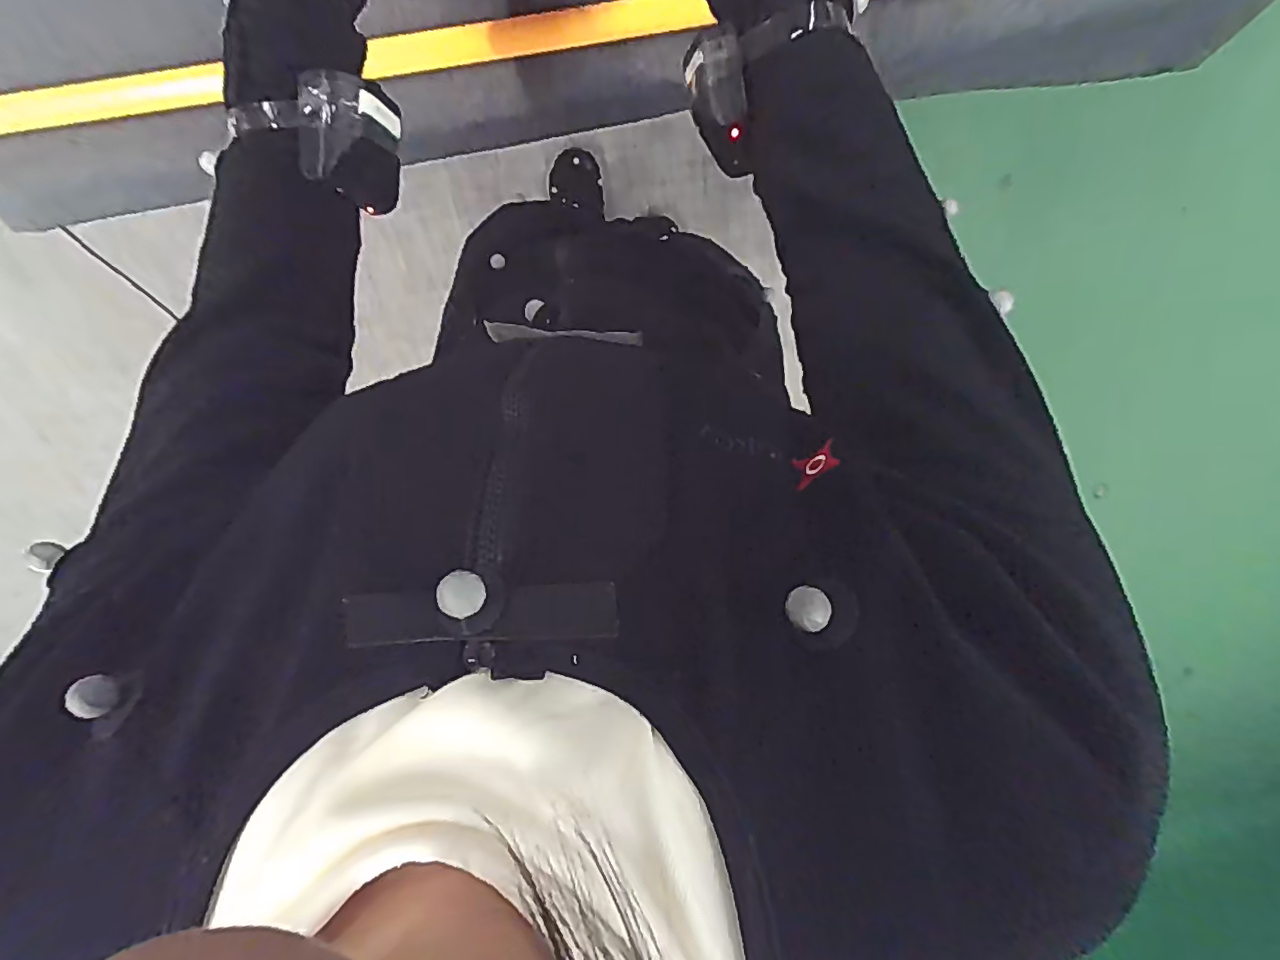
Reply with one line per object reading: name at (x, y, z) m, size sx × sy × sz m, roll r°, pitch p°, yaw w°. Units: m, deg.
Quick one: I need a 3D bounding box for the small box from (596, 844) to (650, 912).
small box at (-0.062, 1.482, 2.002) m, size 0.168 × 0.176 × 0.179 m, roll -13°, pitch 124°, yaw 3°

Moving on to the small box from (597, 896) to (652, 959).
small box at (-0.052, 1.576, 1.869) m, size 0.168 × 0.176 × 0.179 m, roll -12°, pitch 124°, yaw 2°
